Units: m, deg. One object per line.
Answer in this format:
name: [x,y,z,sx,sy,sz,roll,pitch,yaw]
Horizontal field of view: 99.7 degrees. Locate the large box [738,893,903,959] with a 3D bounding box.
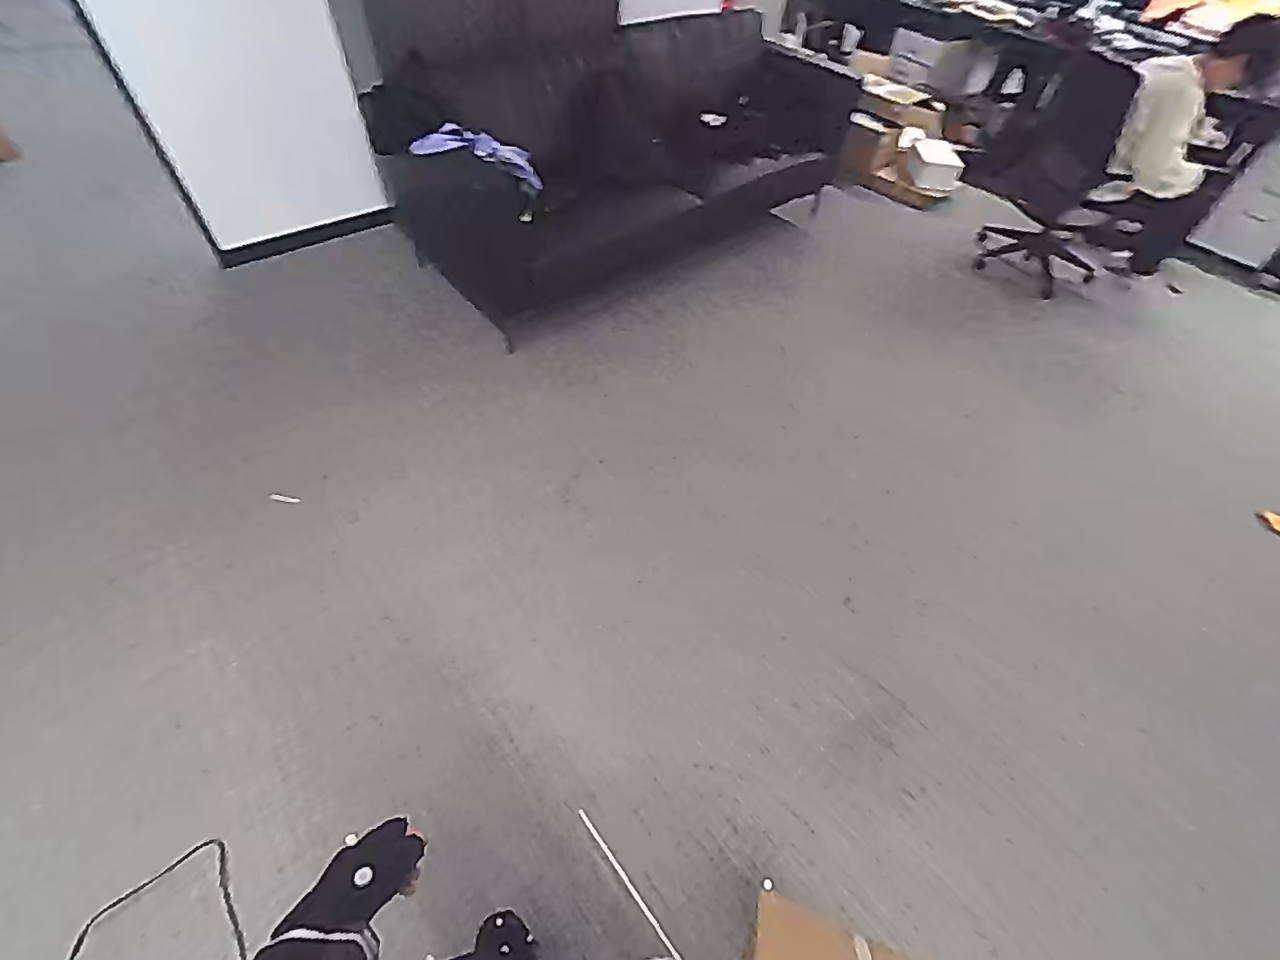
large box: [0.242,0.832,0.651,0.320,0.408,0.320,18,85,16]
